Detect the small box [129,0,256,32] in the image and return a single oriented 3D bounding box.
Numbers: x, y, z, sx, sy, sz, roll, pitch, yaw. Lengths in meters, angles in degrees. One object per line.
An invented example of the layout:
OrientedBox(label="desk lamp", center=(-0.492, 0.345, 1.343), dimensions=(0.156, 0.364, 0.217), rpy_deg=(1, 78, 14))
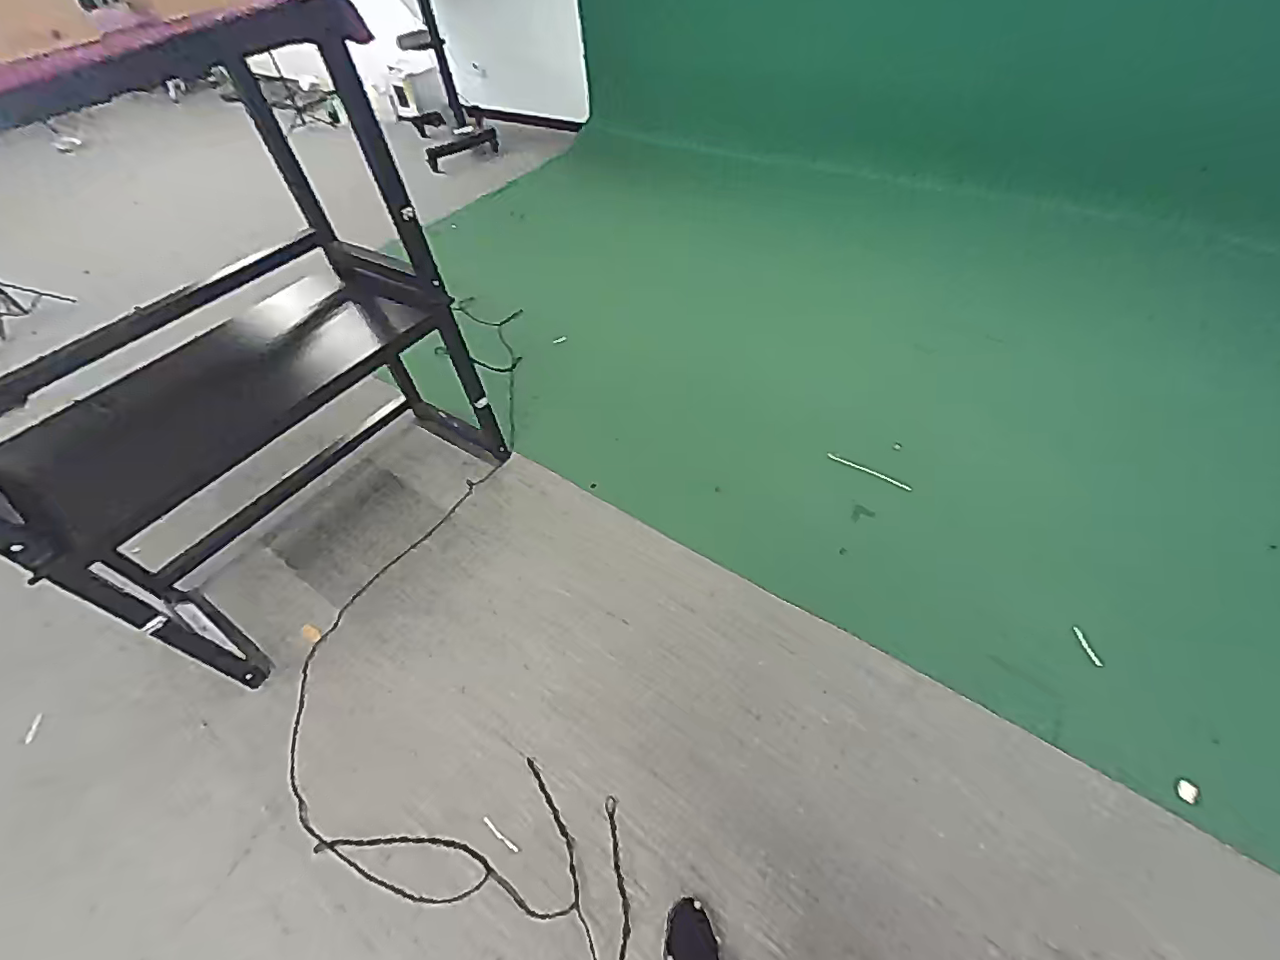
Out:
OrientedBox(label="small box", center=(-0.912, -0.999, 1.057), dimensions=(0.168, 0.176, 0.179), rpy_deg=(26, 57, 27))
